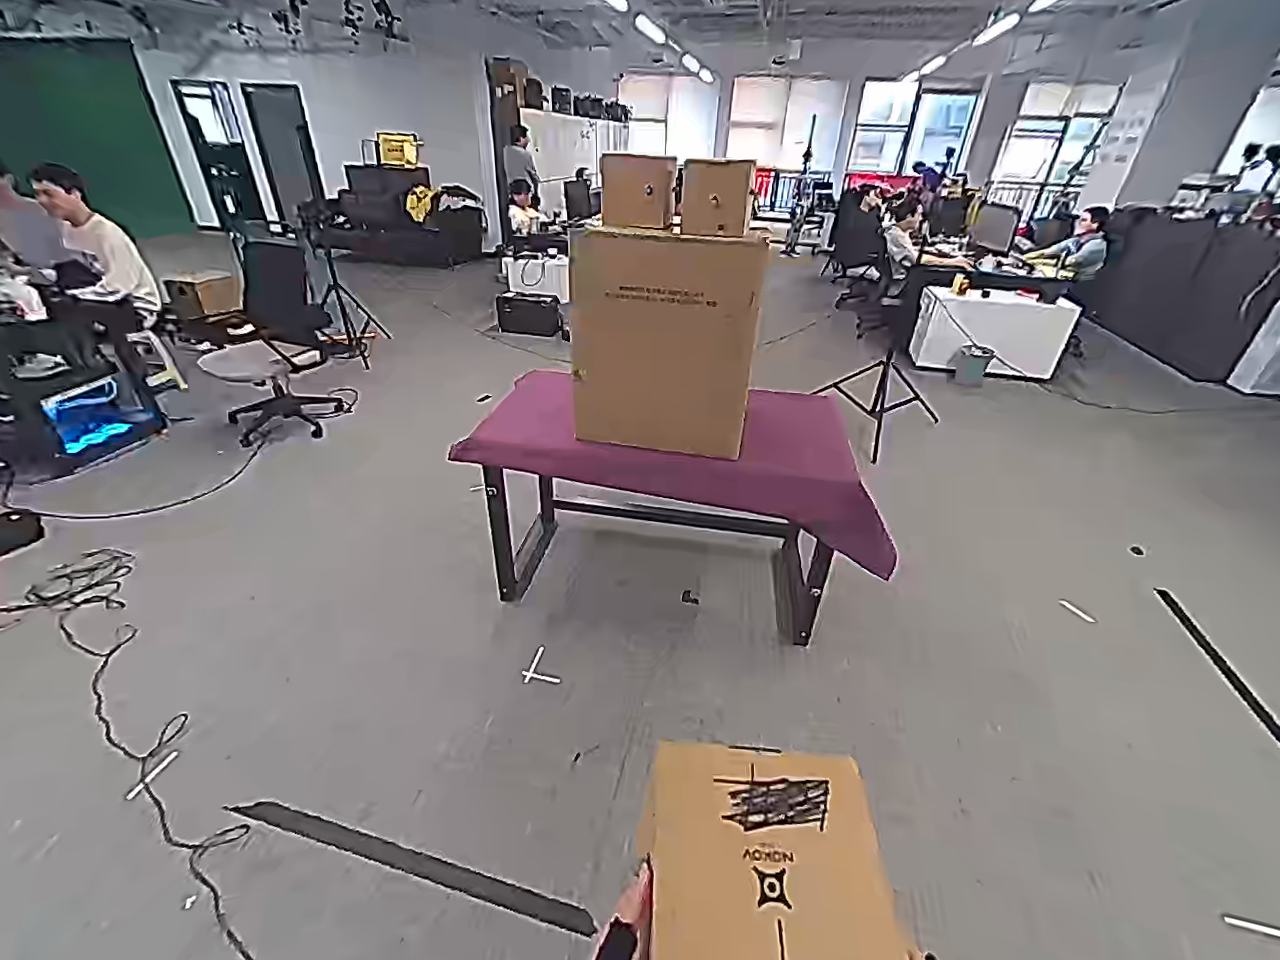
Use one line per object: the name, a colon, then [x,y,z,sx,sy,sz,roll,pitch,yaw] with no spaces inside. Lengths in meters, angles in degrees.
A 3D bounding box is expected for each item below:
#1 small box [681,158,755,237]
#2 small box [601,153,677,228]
small box: [0.200,-0.730,1.394,0.168,0.176,0.179,8,33,10]
small box: [-0.003,-0.789,1.473,0.179,0.176,0.168,8,32,9]
